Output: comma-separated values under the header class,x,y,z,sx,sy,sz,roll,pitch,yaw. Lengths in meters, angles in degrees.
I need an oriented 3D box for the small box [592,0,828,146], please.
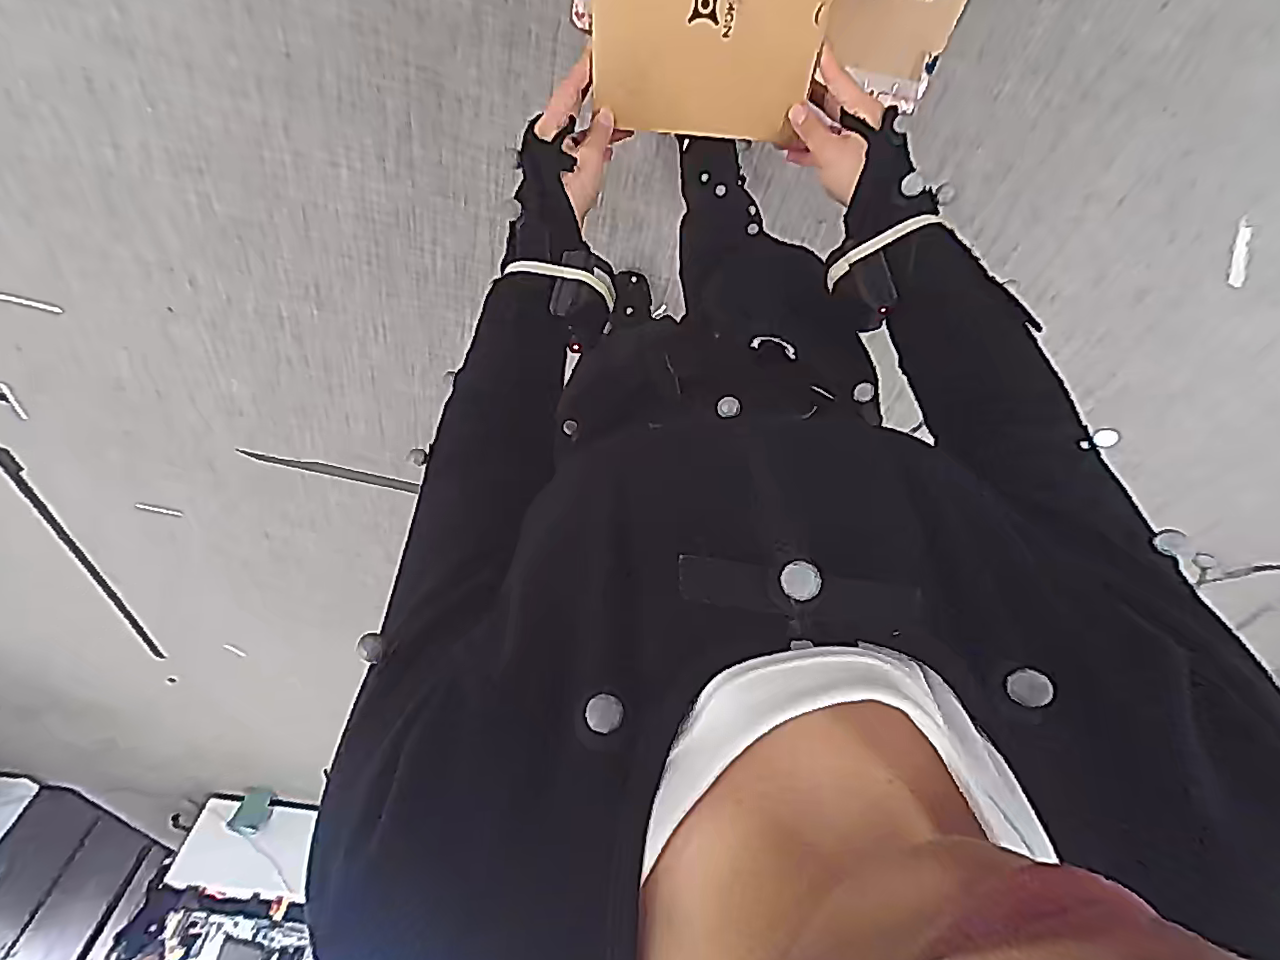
class,x,y,z,sx,sy,sz,roll,pitch,yaw
small box,0.052,-0.404,0.462,0.179,0.176,0.168,2,134,-3
